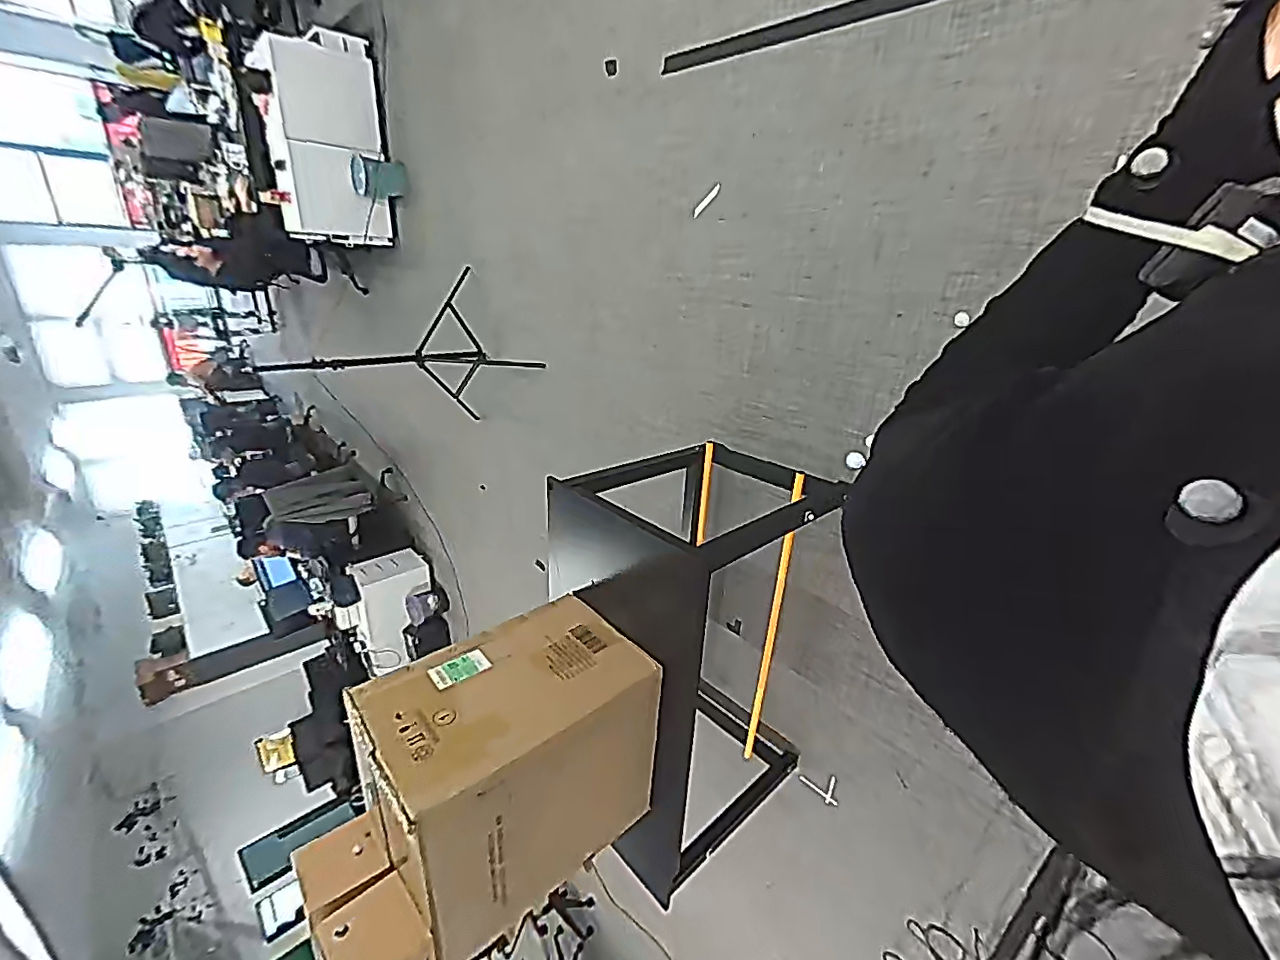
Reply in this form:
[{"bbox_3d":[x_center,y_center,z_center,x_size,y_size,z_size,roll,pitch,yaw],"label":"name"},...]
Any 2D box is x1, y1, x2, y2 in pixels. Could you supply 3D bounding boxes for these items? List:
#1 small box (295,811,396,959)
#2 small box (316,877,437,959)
[{"bbox_3d":[-0.664,0.913,1.234,0.168,0.176,0.179,27,121,43],"label":"small box"},{"bbox_3d":[-0.528,0.957,1.095,0.179,0.176,0.168,23,119,40],"label":"small box"}]
